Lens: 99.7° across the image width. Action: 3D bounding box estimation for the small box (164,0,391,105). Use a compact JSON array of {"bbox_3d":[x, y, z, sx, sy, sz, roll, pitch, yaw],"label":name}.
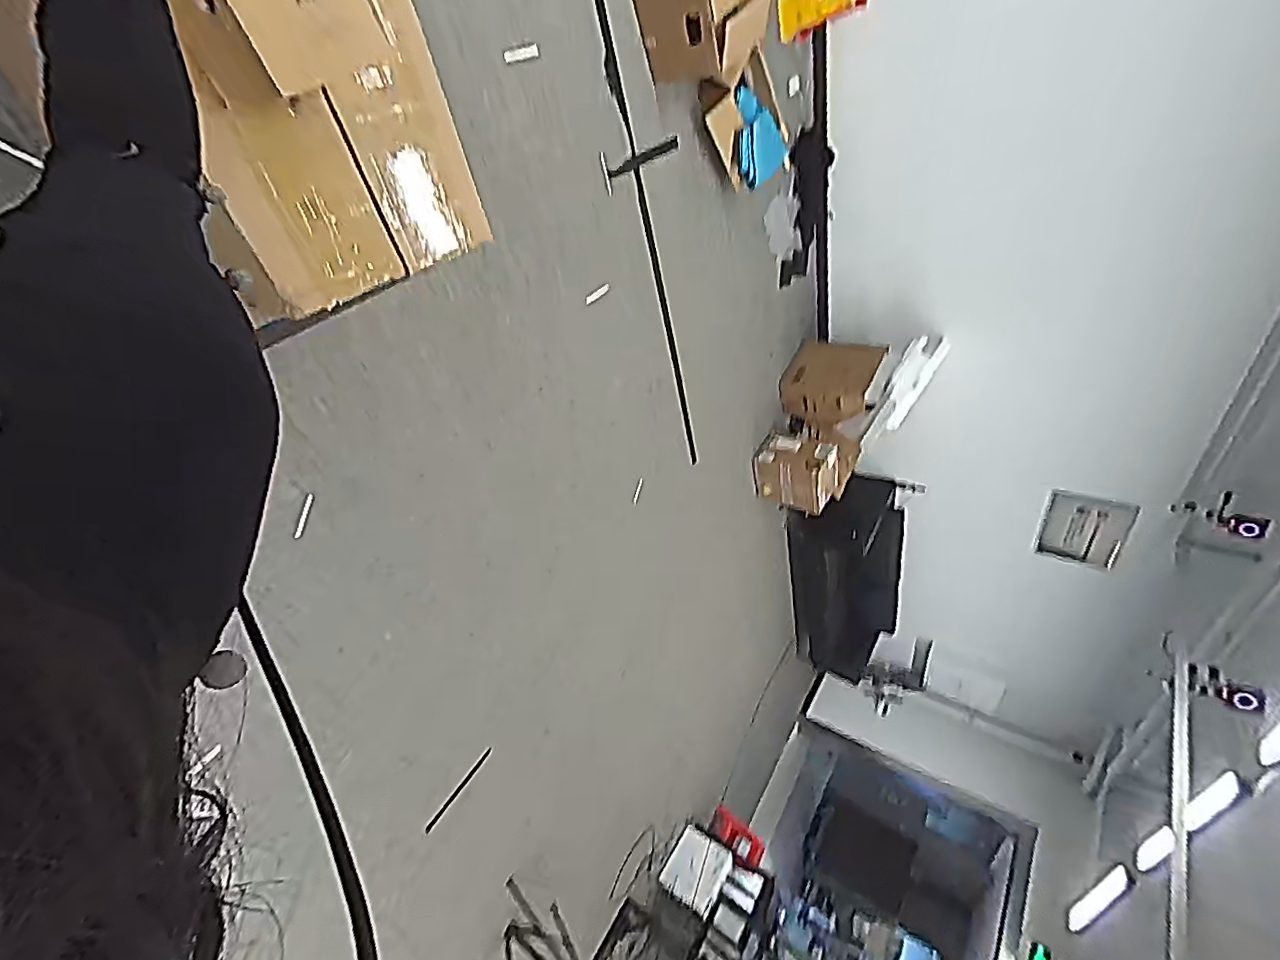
[{"bbox_3d":[-0.446,-0.575,0.638,0.168,0.176,0.179,-48,140,-30],"label":"small box"}]
